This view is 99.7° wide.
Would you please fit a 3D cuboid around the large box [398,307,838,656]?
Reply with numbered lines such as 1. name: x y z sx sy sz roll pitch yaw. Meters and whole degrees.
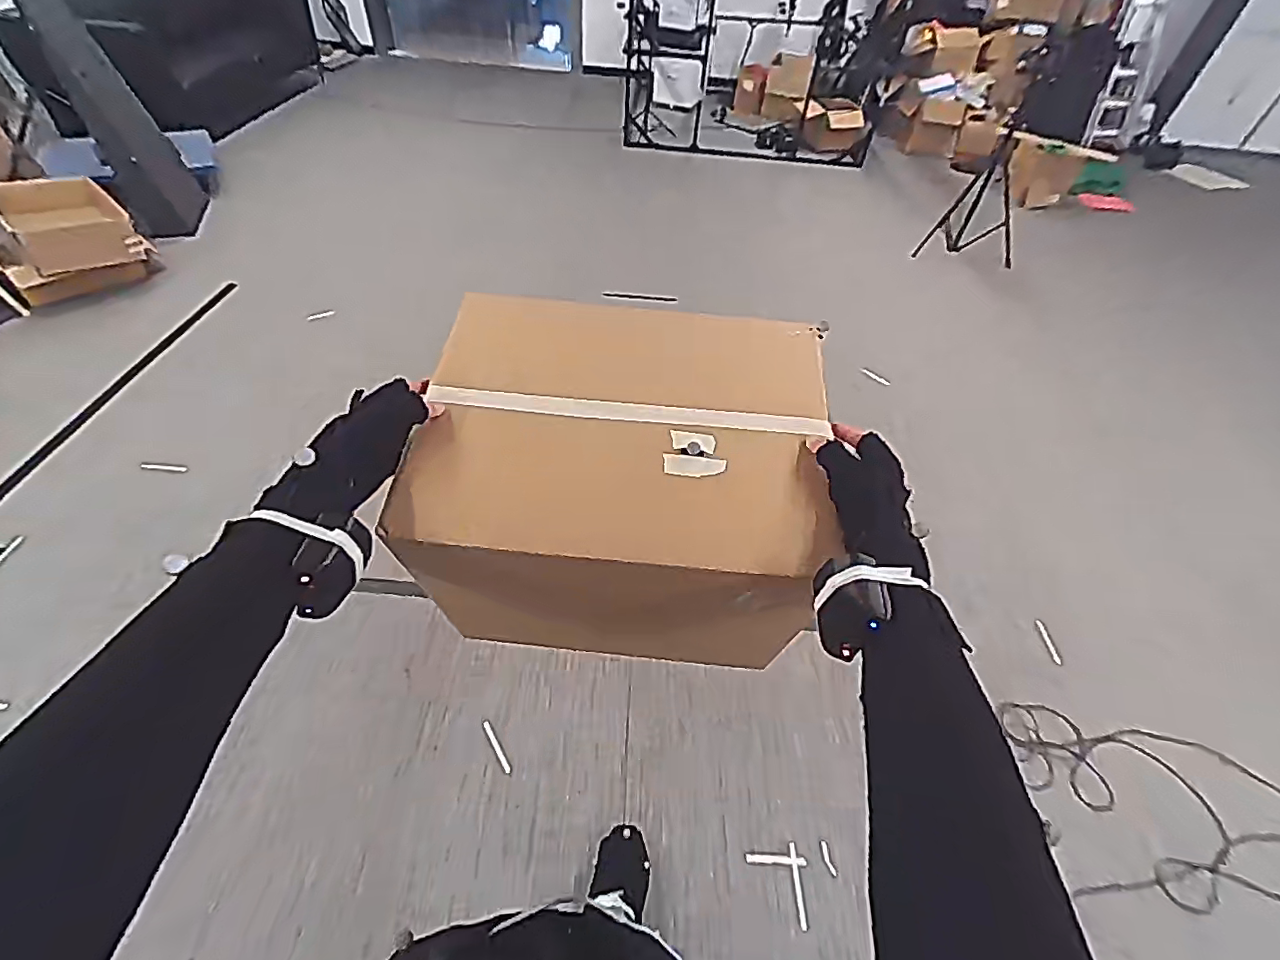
1. large box: -0.017 0.017 0.683 0.408 0.320 0.320 5 59 0
